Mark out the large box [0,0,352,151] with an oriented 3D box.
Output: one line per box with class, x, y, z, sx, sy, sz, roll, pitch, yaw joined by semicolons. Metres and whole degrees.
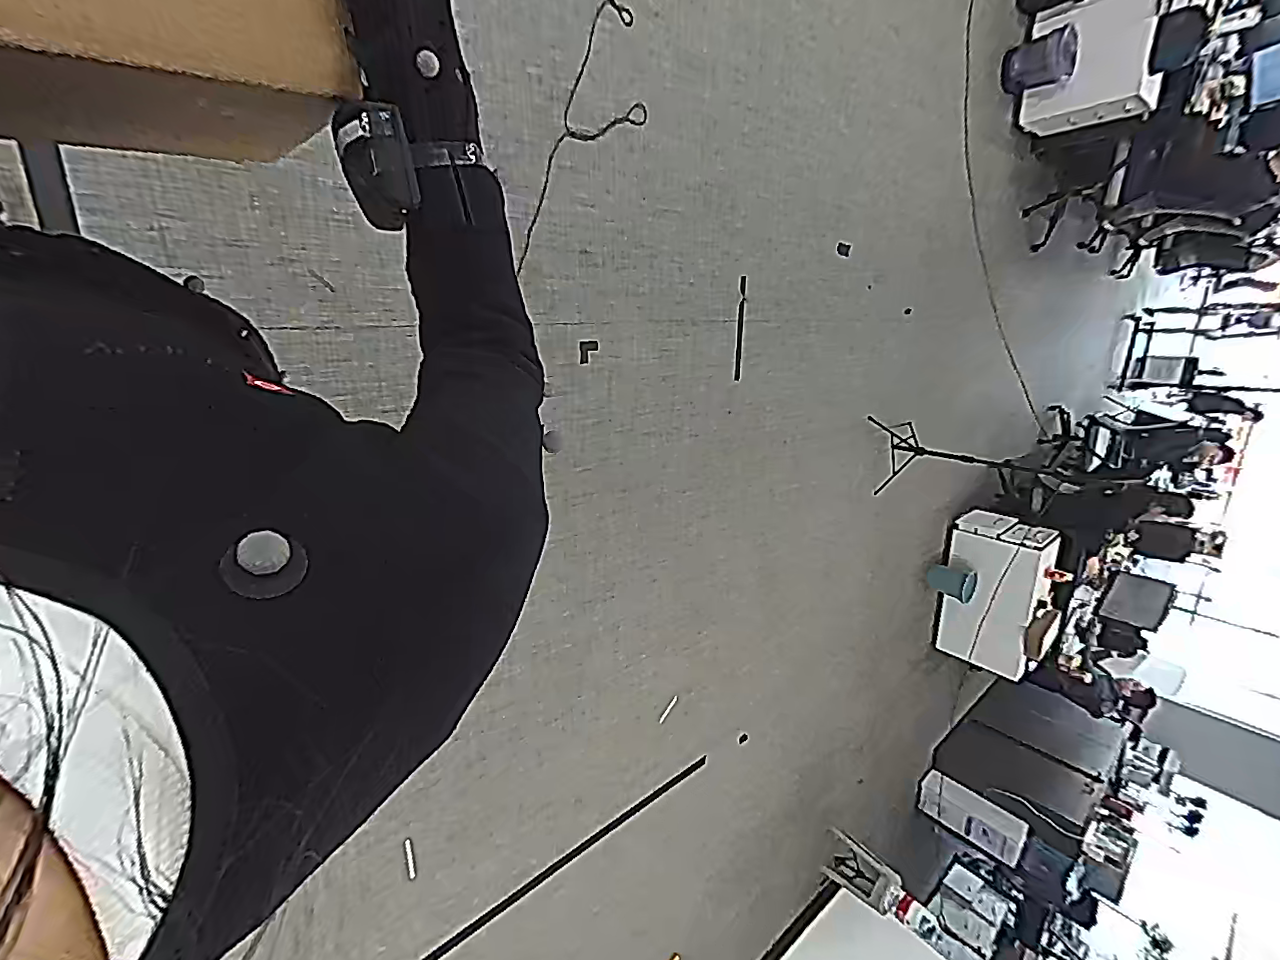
large box;-0.431;-0.377;0.268;0.408;0.320;0.320;-19;120;-38
